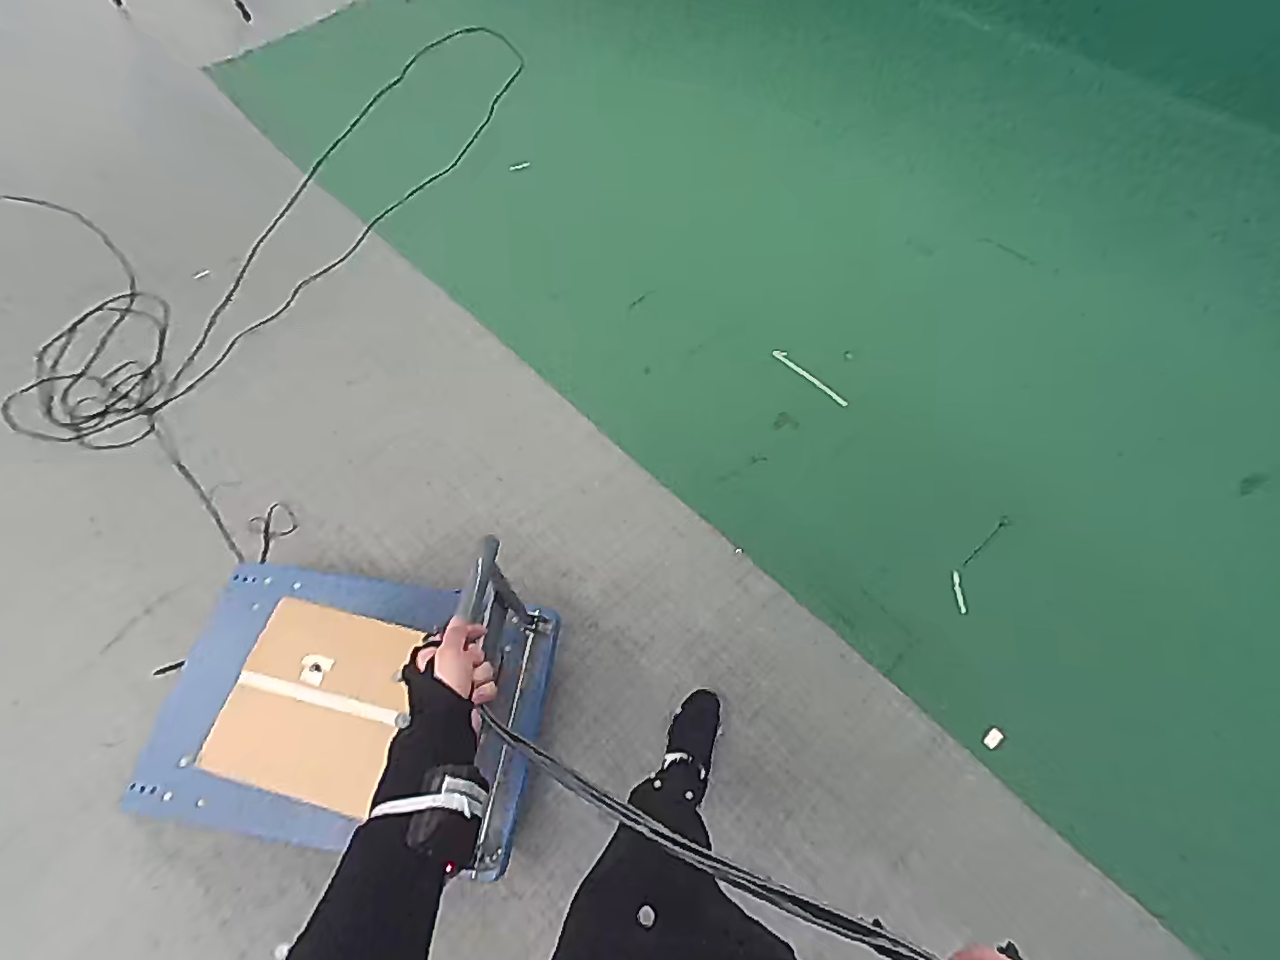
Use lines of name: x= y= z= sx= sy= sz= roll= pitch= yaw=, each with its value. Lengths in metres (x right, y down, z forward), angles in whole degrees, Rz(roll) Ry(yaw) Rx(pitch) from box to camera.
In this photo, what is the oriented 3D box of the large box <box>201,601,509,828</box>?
large box: x=-0.534 y=0.469 z=1.111 sx=0.408 sy=0.320 sz=0.320 roll=12 pitch=65 yaw=7
